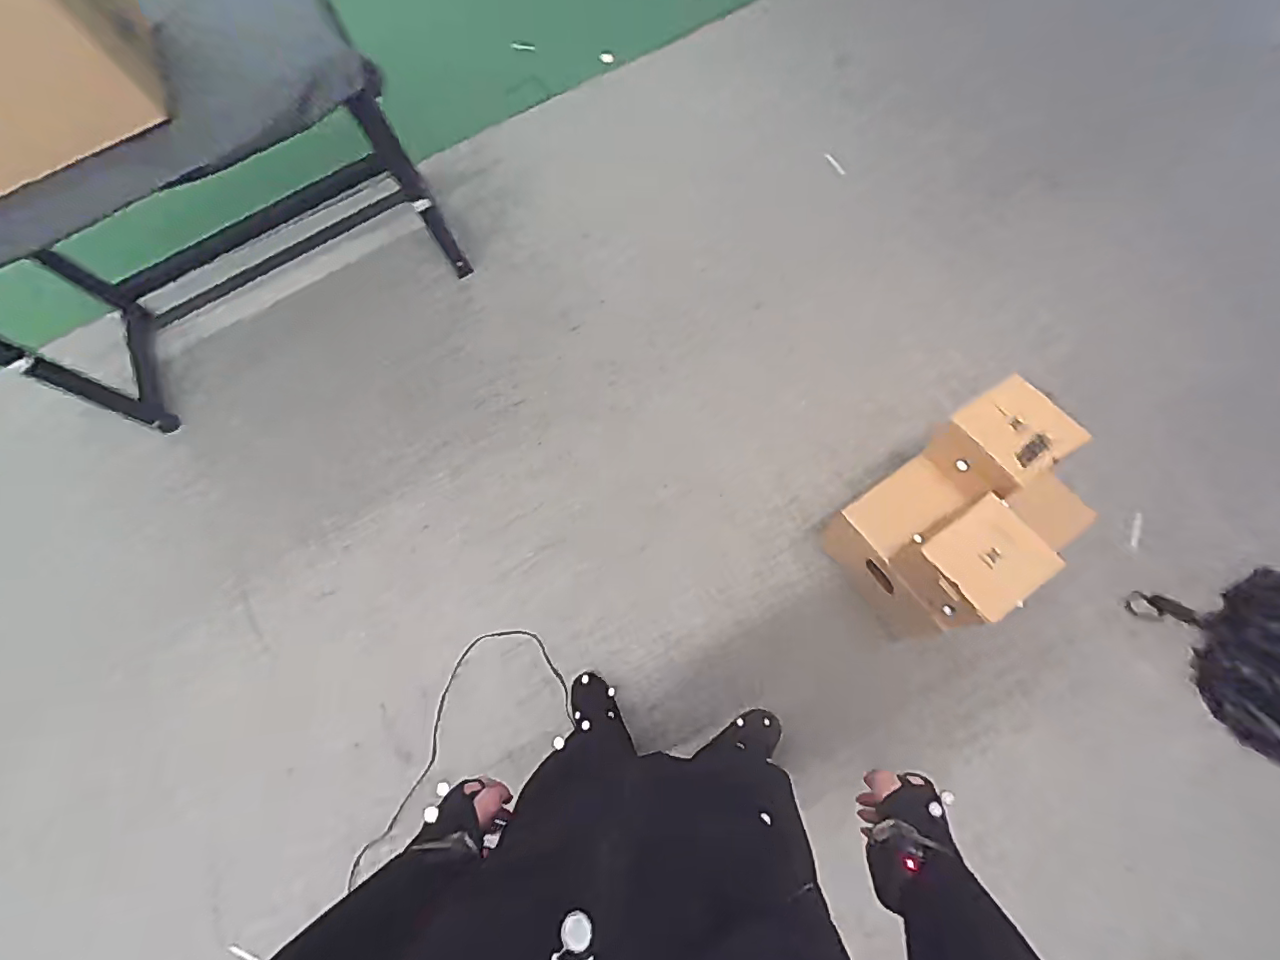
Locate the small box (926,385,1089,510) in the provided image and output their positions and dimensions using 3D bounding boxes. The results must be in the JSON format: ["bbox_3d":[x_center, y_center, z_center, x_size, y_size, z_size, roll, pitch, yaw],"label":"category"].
[{"bbox_3d":[0.718,-0.049,1.081,0.168,0.176,0.179,-33,66,-4],"label":"small box"}]

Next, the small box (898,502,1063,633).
[{"bbox_3d":[0.619,0.173,1.017,0.179,0.176,0.168,-36,73,-7],"label":"small box"}]
